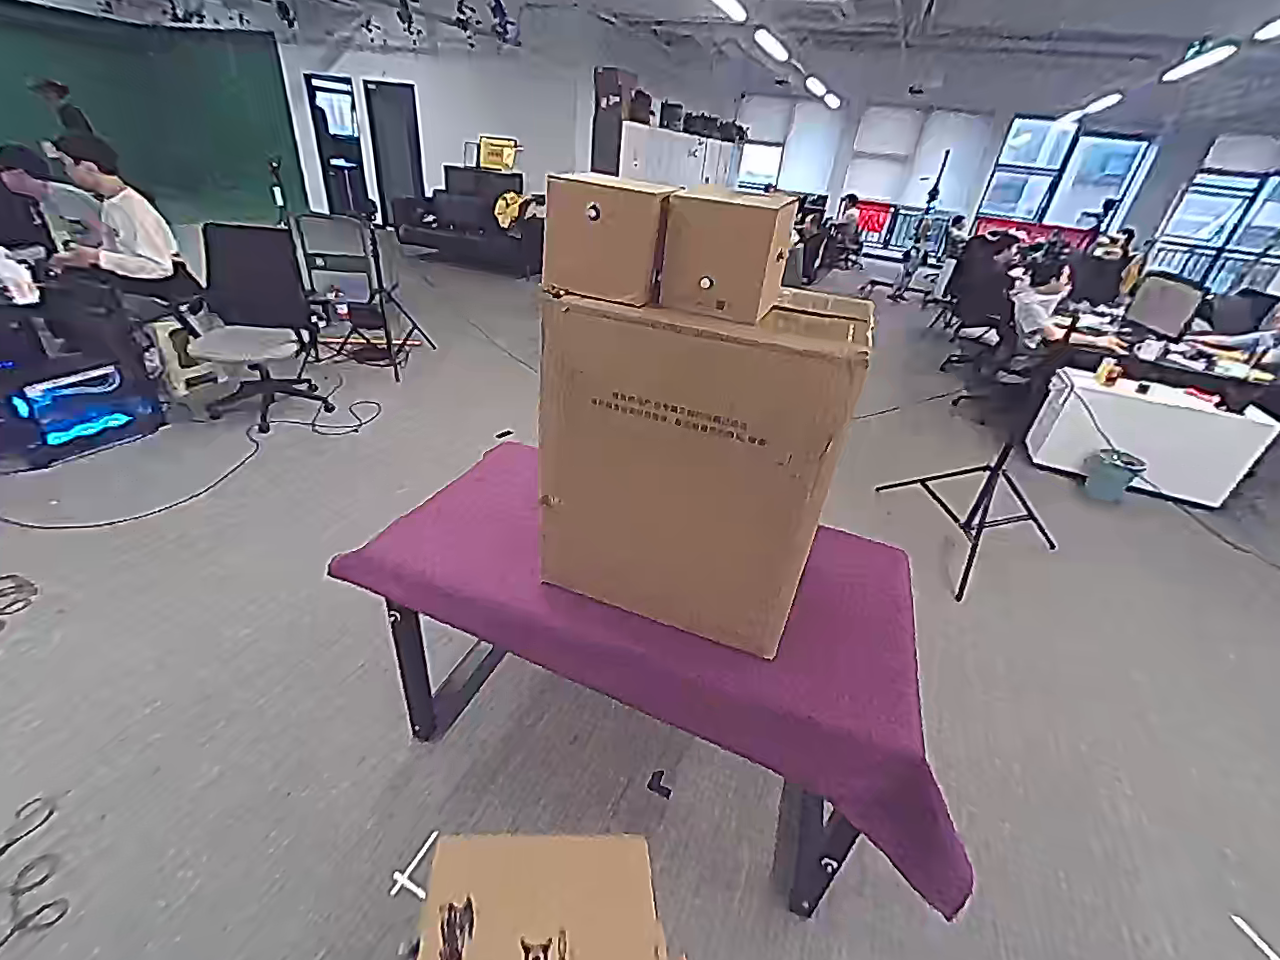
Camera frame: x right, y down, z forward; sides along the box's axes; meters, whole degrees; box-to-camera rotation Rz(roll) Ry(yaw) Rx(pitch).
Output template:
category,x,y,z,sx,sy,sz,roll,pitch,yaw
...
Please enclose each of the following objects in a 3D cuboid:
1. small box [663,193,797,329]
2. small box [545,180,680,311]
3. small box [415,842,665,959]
category,x,y,z,sx,sy,sz,roll,pitch,yaw
small box,0.144,-0.363,0.887,0.168,0.176,0.179,16,35,17
small box,-0.046,-0.391,0.898,0.179,0.176,0.168,17,33,12
small box,-0.086,0.412,0.410,0.179,0.176,0.168,12,24,-15
